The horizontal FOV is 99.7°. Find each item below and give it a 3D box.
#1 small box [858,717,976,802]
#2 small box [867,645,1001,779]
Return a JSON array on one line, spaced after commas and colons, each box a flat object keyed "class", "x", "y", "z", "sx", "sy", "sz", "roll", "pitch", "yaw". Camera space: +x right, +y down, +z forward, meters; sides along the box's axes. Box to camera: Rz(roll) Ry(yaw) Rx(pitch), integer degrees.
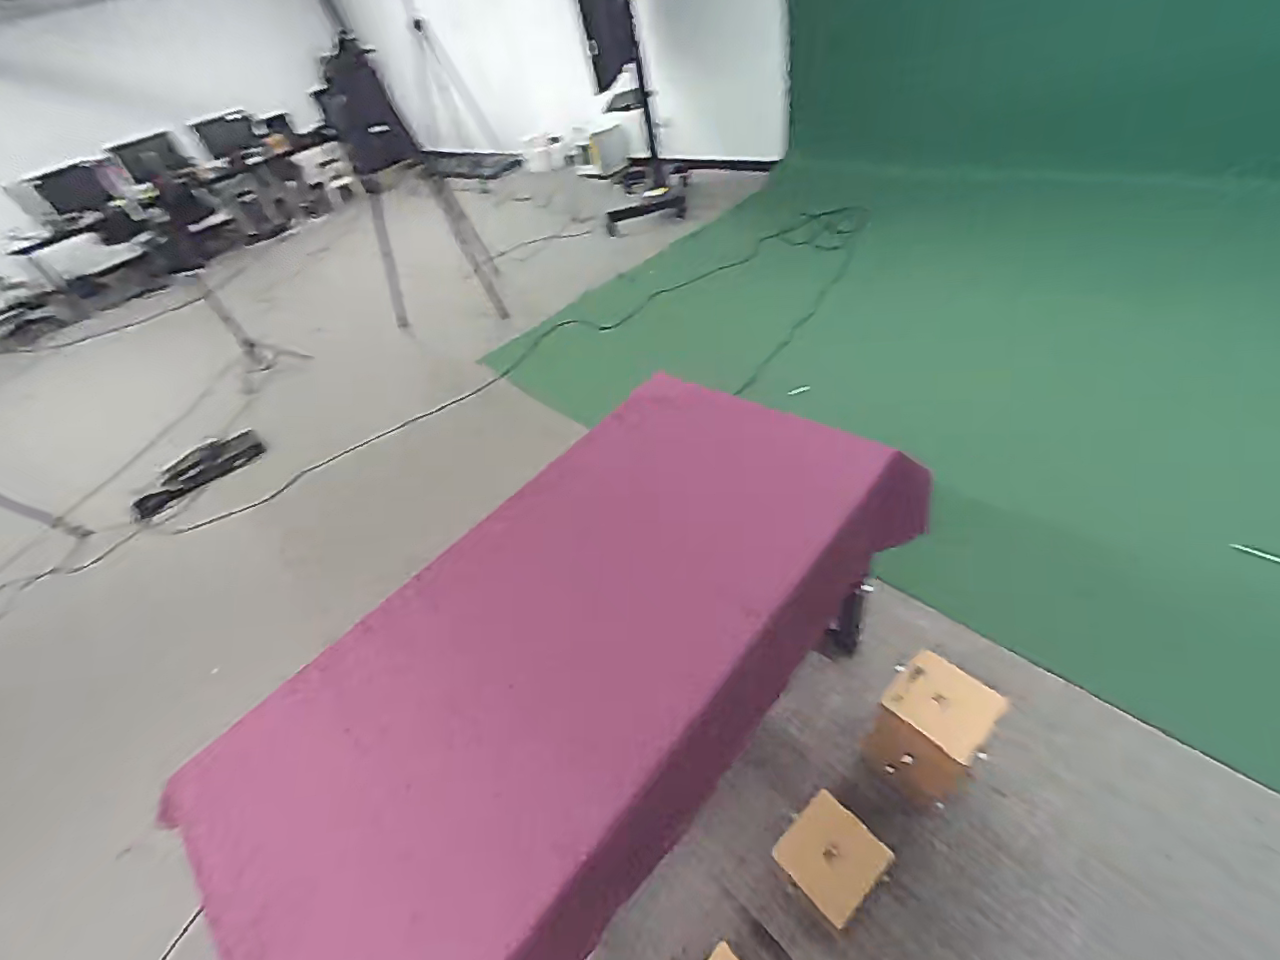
[{"class": "small box", "x": 0.627, "y": 0.604, "z": 1.241, "sx": 0.168, "sy": 0.176, "sz": 0.179, "roll": -34, "pitch": 45, "yaw": -18}, {"class": "small box", "x": 0.600, "y": 0.489, "z": 1.126, "sx": 0.168, "sy": 0.176, "sz": 0.179, "roll": -37, "pitch": 48, "yaw": -21}]
